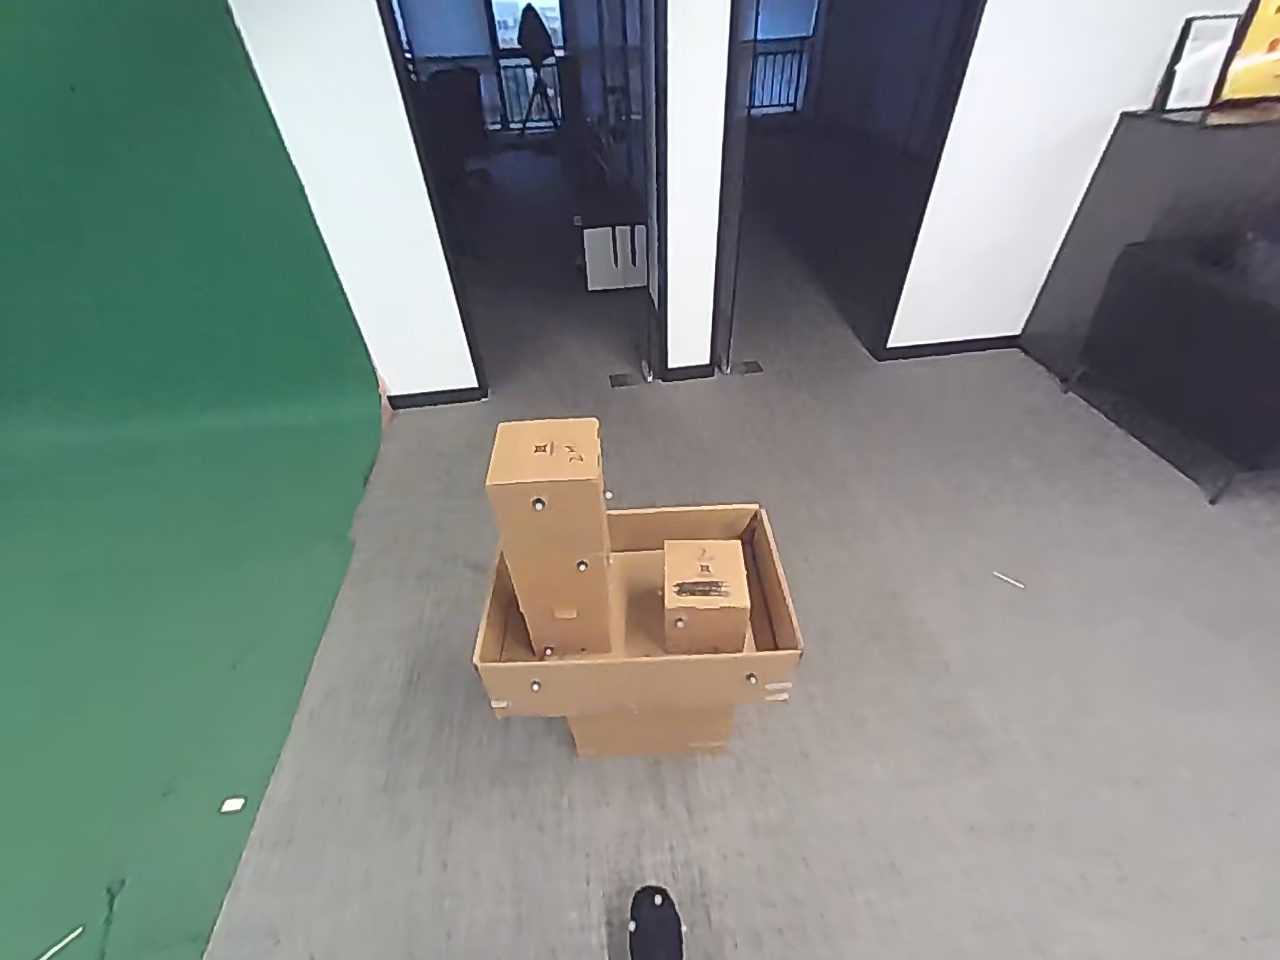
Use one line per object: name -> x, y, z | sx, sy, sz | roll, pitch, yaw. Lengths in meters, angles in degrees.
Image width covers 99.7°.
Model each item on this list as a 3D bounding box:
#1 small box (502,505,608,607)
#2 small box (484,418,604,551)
small box -> -0.154, 0.131, 1.046 | 0.179, 0.176, 0.168 | -2, 42, -2
small box -> -0.154, 0.010, 0.935 | 0.179, 0.176, 0.168 | -2, 42, -2
